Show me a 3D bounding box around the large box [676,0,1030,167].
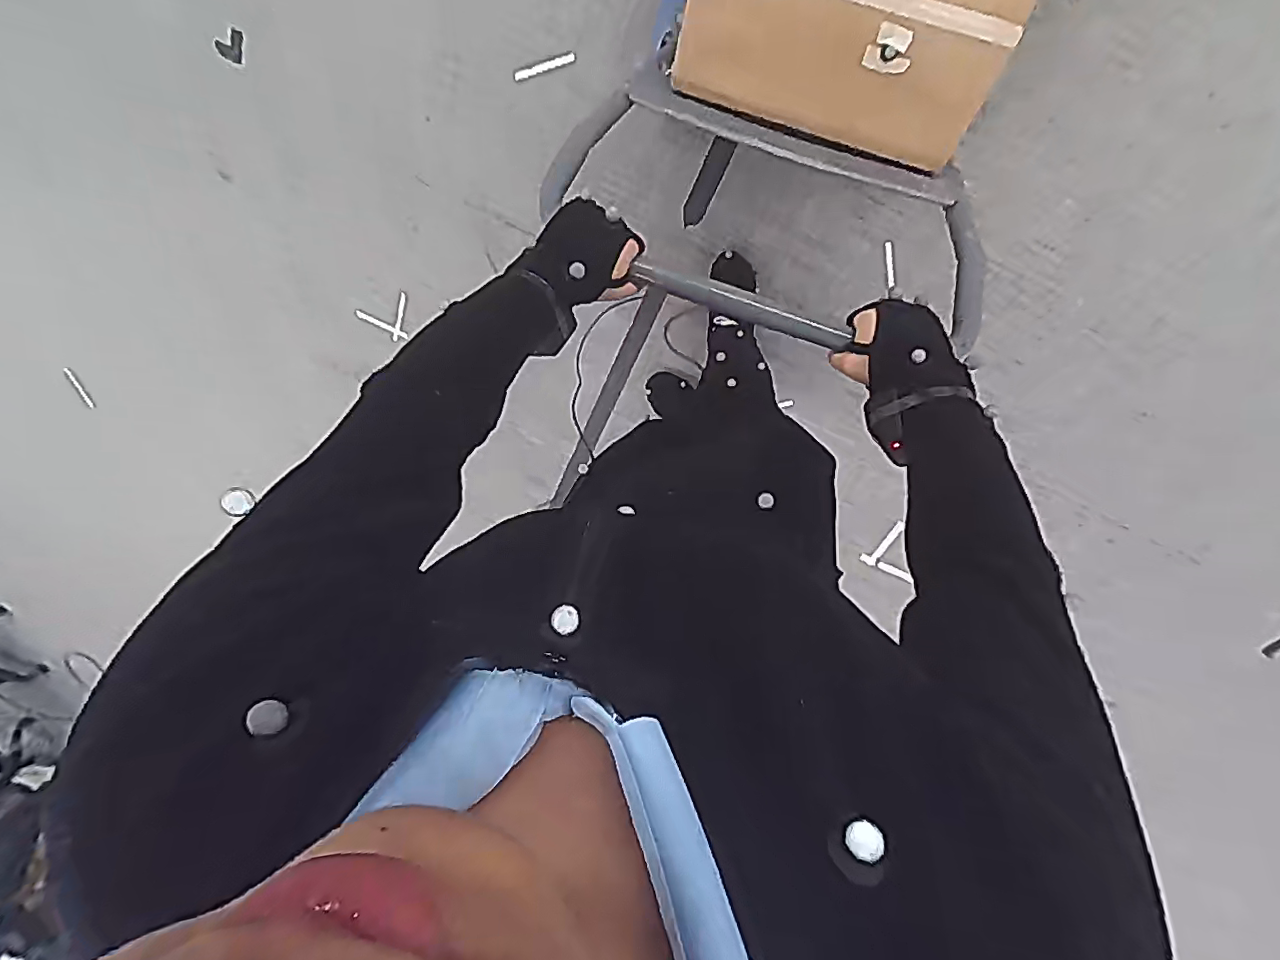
[{"bbox_3d":[0.300,-0.706,0.771,0.408,0.320,0.320,18,137,1],"label":"large box"}]
